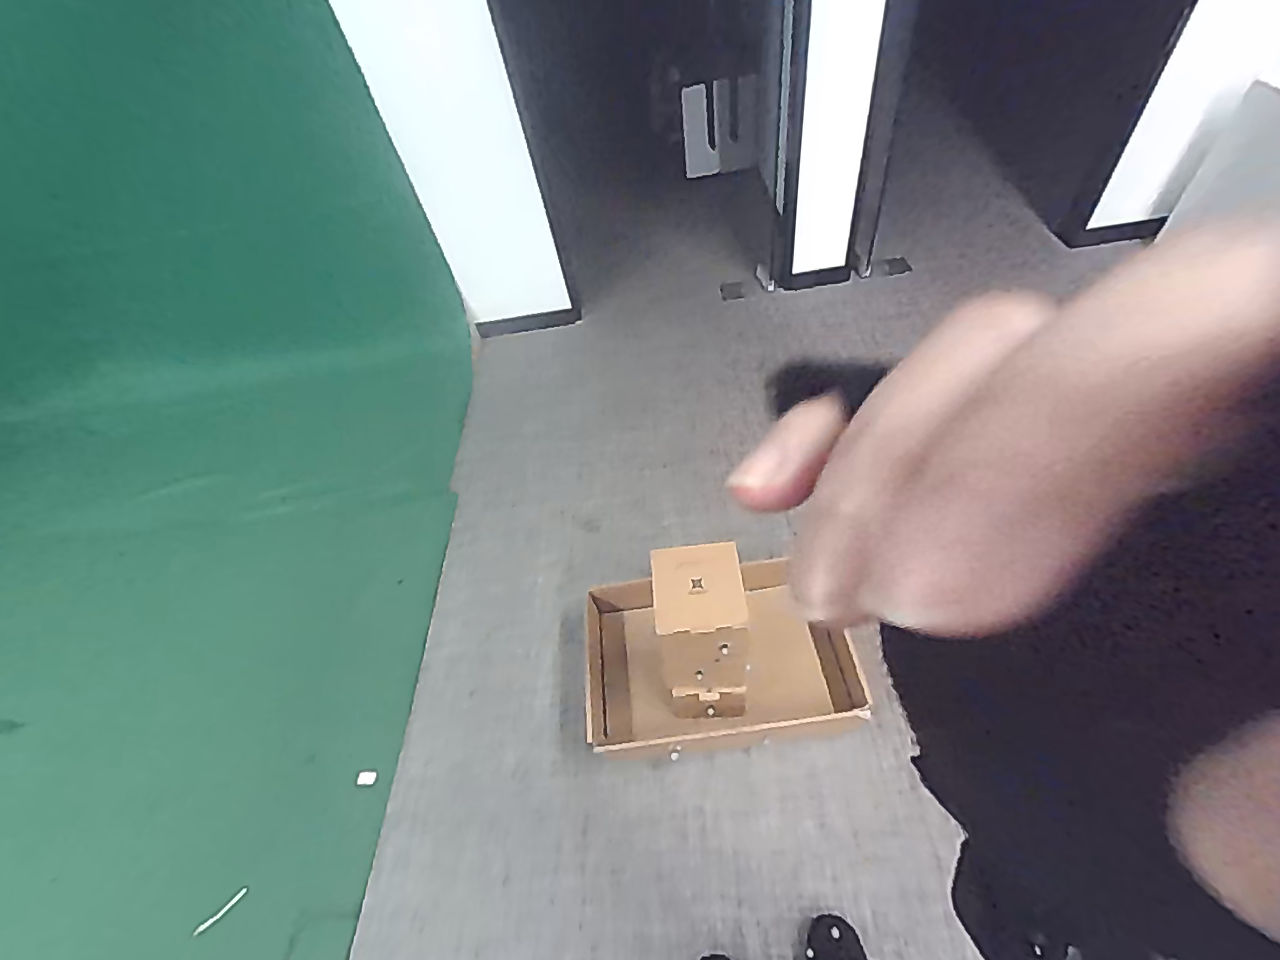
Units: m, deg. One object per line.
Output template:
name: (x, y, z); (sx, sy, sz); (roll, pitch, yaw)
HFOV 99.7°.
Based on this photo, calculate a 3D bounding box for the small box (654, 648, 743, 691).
small box: (0.130, 0.347, 1.174); (0.179, 0.176, 0.168); (-3, 49, 9)

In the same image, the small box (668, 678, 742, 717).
small box: (0.155, 0.459, 1.293); (0.168, 0.176, 0.179); (-4, 51, 6)

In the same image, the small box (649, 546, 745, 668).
small box: (0.109, 0.251, 1.045); (0.168, 0.176, 0.179); (-5, 48, 3)
